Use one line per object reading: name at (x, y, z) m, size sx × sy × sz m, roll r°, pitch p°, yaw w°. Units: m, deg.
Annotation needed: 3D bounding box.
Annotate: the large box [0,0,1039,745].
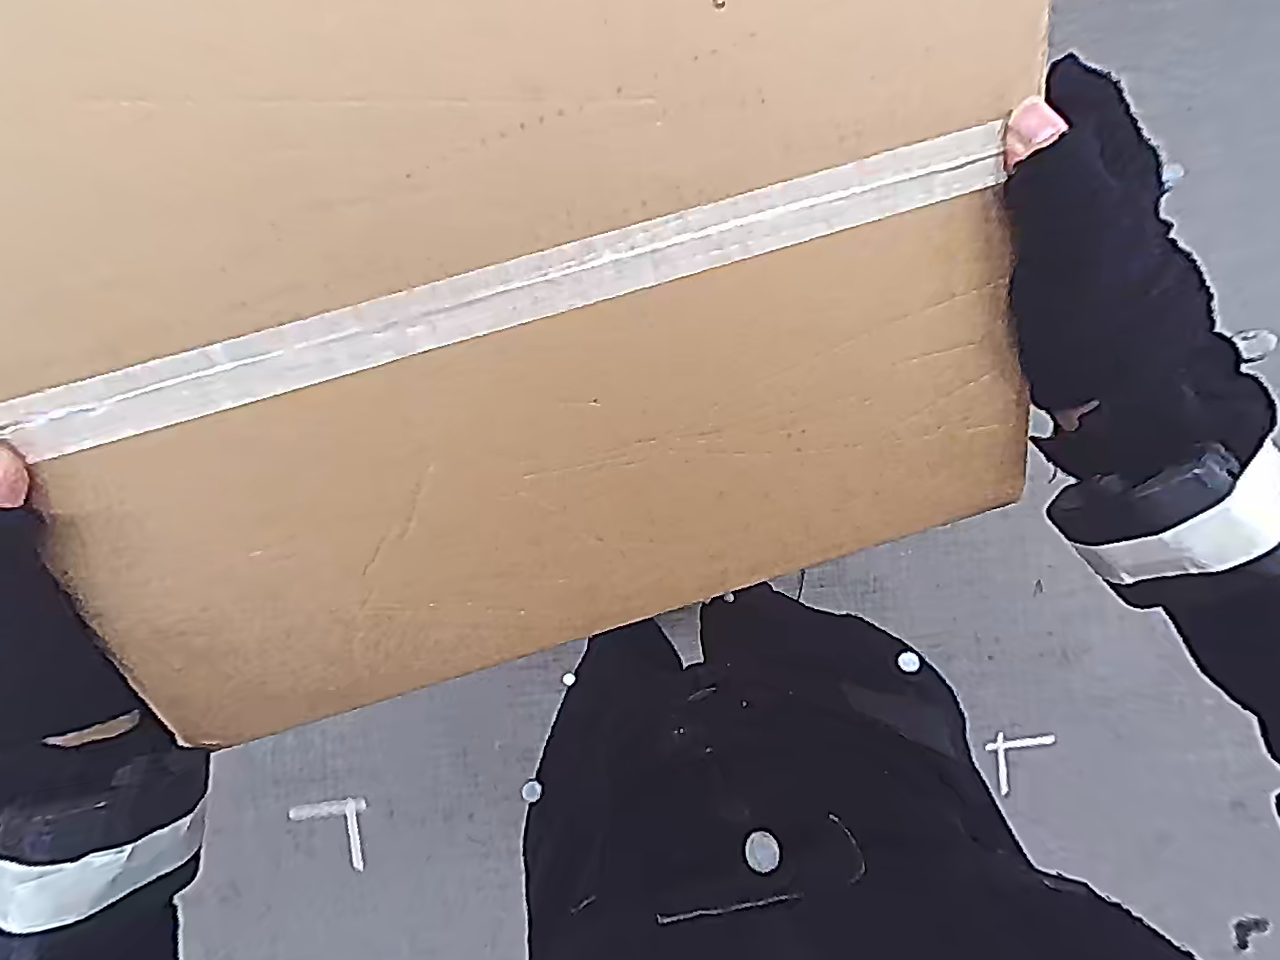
large box at (-0.063, -0.119, 0.338) m, size 0.408 × 0.320 × 0.320 m, roll -16°, pitch 115°, yaw -2°
